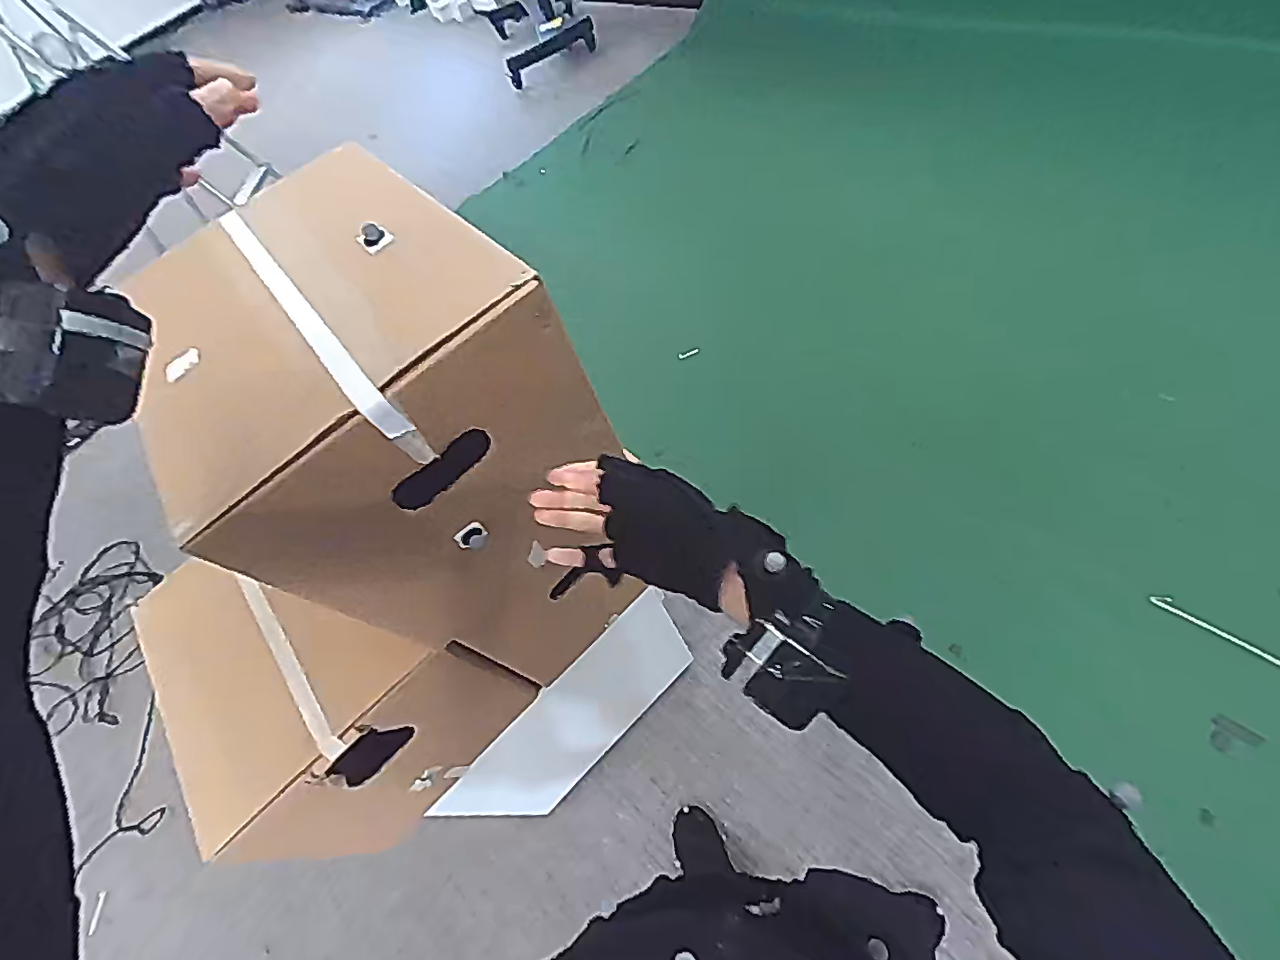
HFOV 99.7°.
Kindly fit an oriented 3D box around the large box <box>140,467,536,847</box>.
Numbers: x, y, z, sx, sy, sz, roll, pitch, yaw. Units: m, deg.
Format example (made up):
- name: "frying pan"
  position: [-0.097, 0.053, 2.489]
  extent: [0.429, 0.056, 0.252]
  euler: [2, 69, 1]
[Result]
- name: "large box"
  position: [-0.435, 0.259, 0.820]
  extent: [0.320, 0.320, 0.408]
  euler: [-43, 57, -14]
